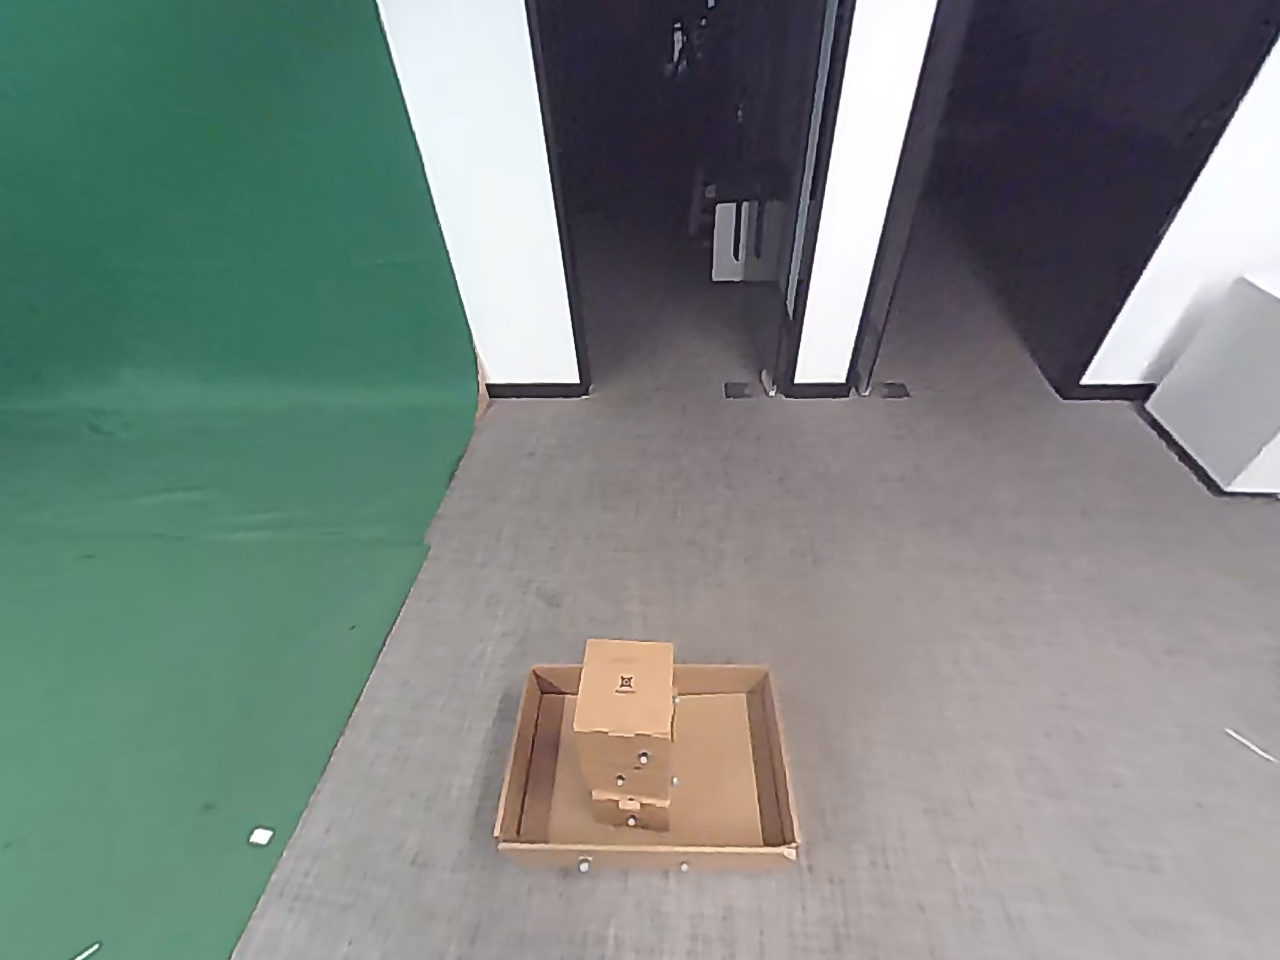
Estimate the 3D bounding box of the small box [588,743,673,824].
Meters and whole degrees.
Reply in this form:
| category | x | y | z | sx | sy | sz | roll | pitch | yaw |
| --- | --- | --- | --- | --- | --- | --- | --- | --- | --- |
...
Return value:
| category | x | y | z | sx | sy | sz | roll | pitch | yaw |
| --- | --- | --- | --- | --- | --- | --- | --- | --- | --- |
| small box | -0.014 | 0.658 | 1.230 | 0.168 | 0.176 | 0.179 | 4 | 44 | 7 |

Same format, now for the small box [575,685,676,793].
| category | x | y | z | sx | sy | sz | roll | pitch | yaw |
| --- | --- | --- | --- | --- | --- | --- | --- | --- | --- |
| small box | -0.022 | 0.529 | 1.127 | 0.179 | 0.176 | 0.168 | 5 | 42 | 10 |

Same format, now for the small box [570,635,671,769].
| category | x | y | z | sx | sy | sz | roll | pitch | yaw |
| --- | --- | --- | --- | --- | --- | --- | --- | --- | --- |
| small box | -0.028 | 0.417 | 1.011 | 0.168 | 0.176 | 0.179 | 3 | 41 | 4 |
